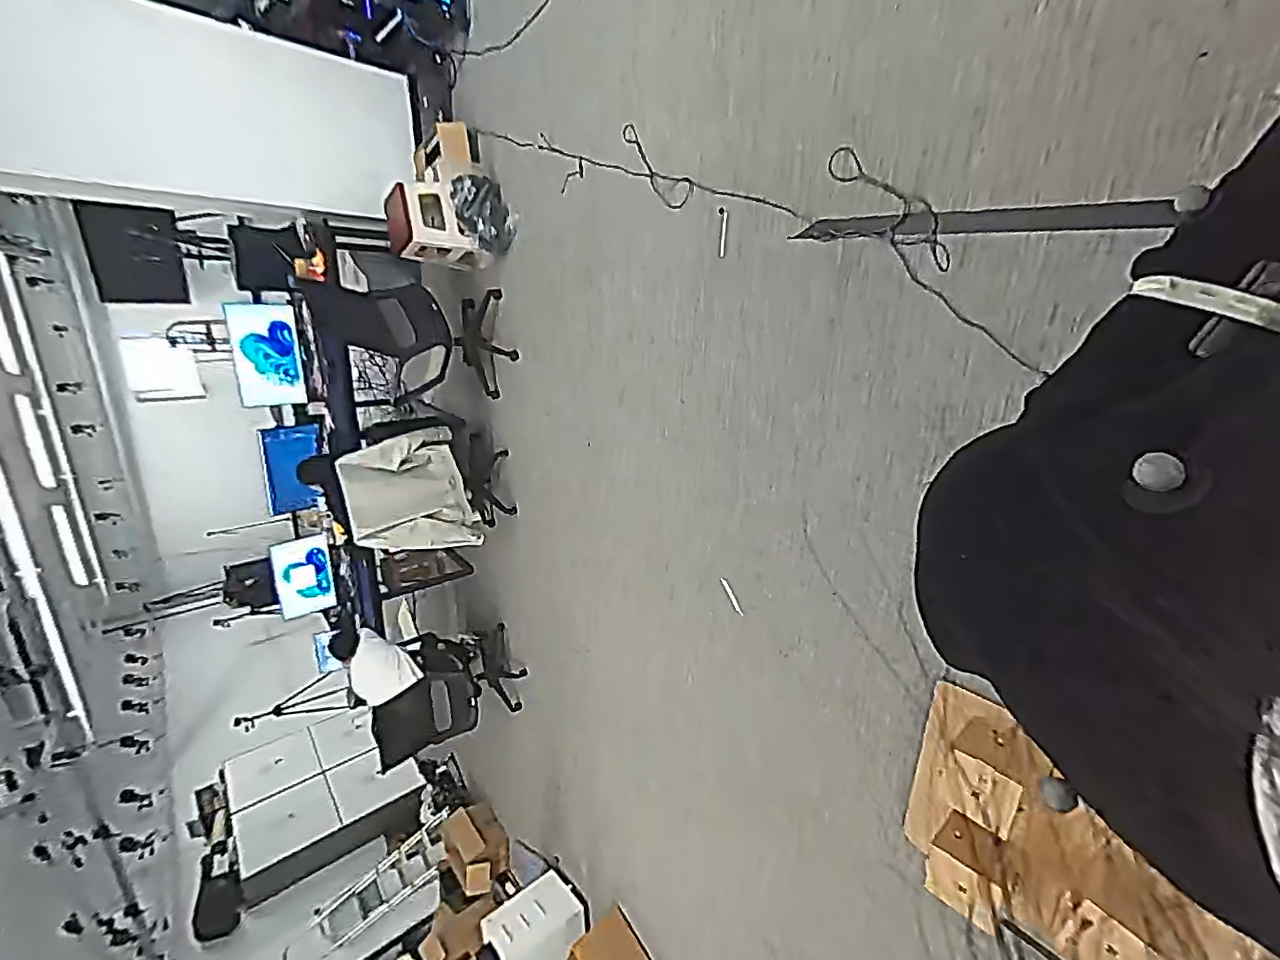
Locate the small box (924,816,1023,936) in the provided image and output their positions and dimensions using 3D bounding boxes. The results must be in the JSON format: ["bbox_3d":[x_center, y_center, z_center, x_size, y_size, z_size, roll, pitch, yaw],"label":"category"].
[{"bbox_3d":[0.912,1.067,1.481,0.179,0.176,0.168,15,113,48],"label":"small box"}]

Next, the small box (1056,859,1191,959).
[{"bbox_3d":[1.103,1.027,1.233,0.179,0.176,0.168,31,122,40],"label":"small box"}]

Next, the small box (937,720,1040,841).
[{"bbox_3d":[0.905,0.768,1.401,0.168,0.176,0.179,21,115,45],"label":"small box"}]
